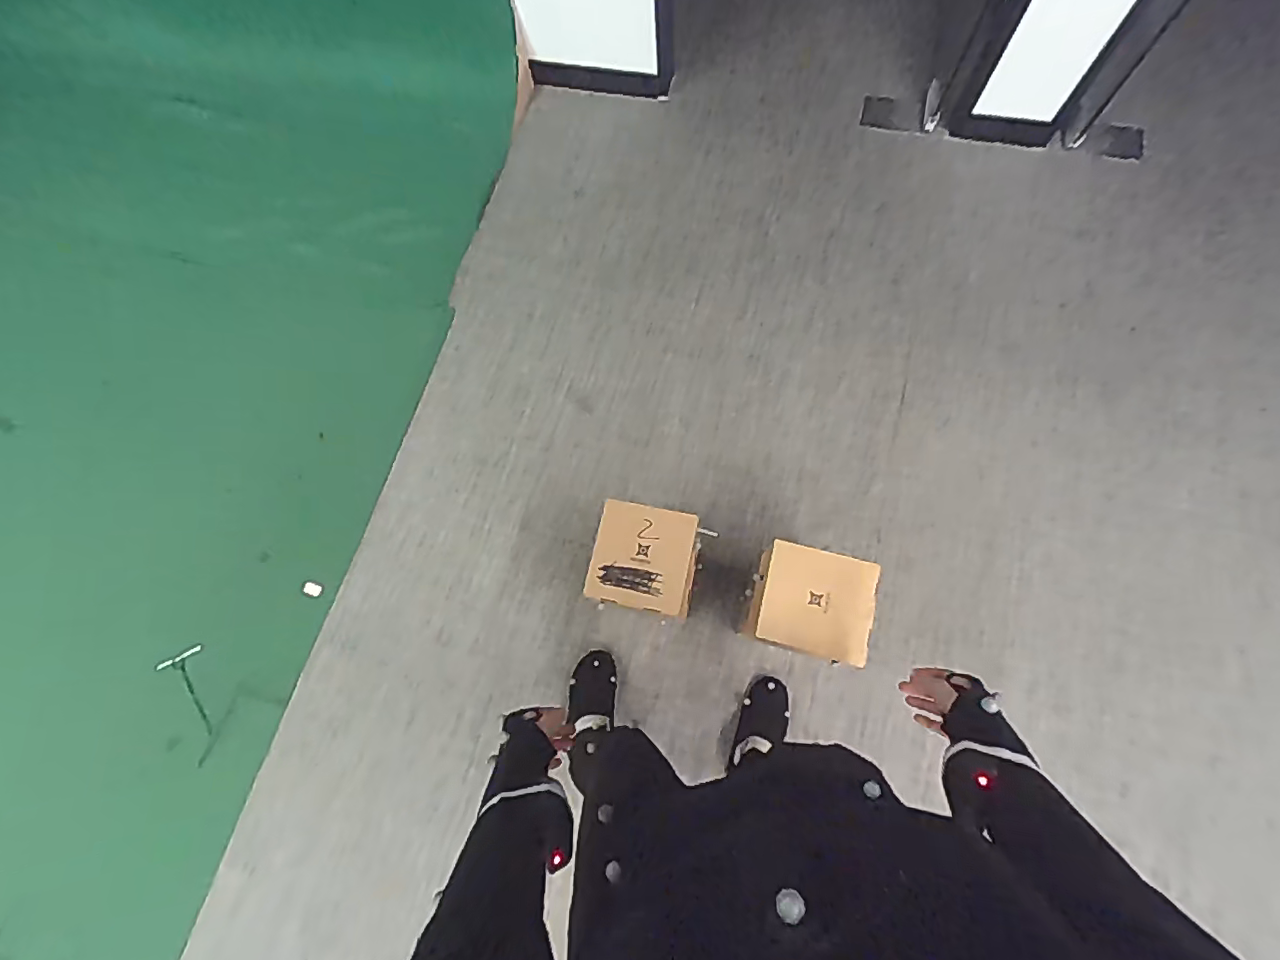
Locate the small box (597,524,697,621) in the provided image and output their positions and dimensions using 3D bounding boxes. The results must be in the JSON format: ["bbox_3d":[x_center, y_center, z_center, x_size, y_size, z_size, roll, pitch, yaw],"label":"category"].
[{"bbox_3d":[0.022,0.204,1.158,0.179,0.176,0.168,10,74,9],"label":"small box"}]

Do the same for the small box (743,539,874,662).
[{"bbox_3d":[0.289,0.218,0.959,0.179,0.176,0.168,14,74,8],"label":"small box"}]
